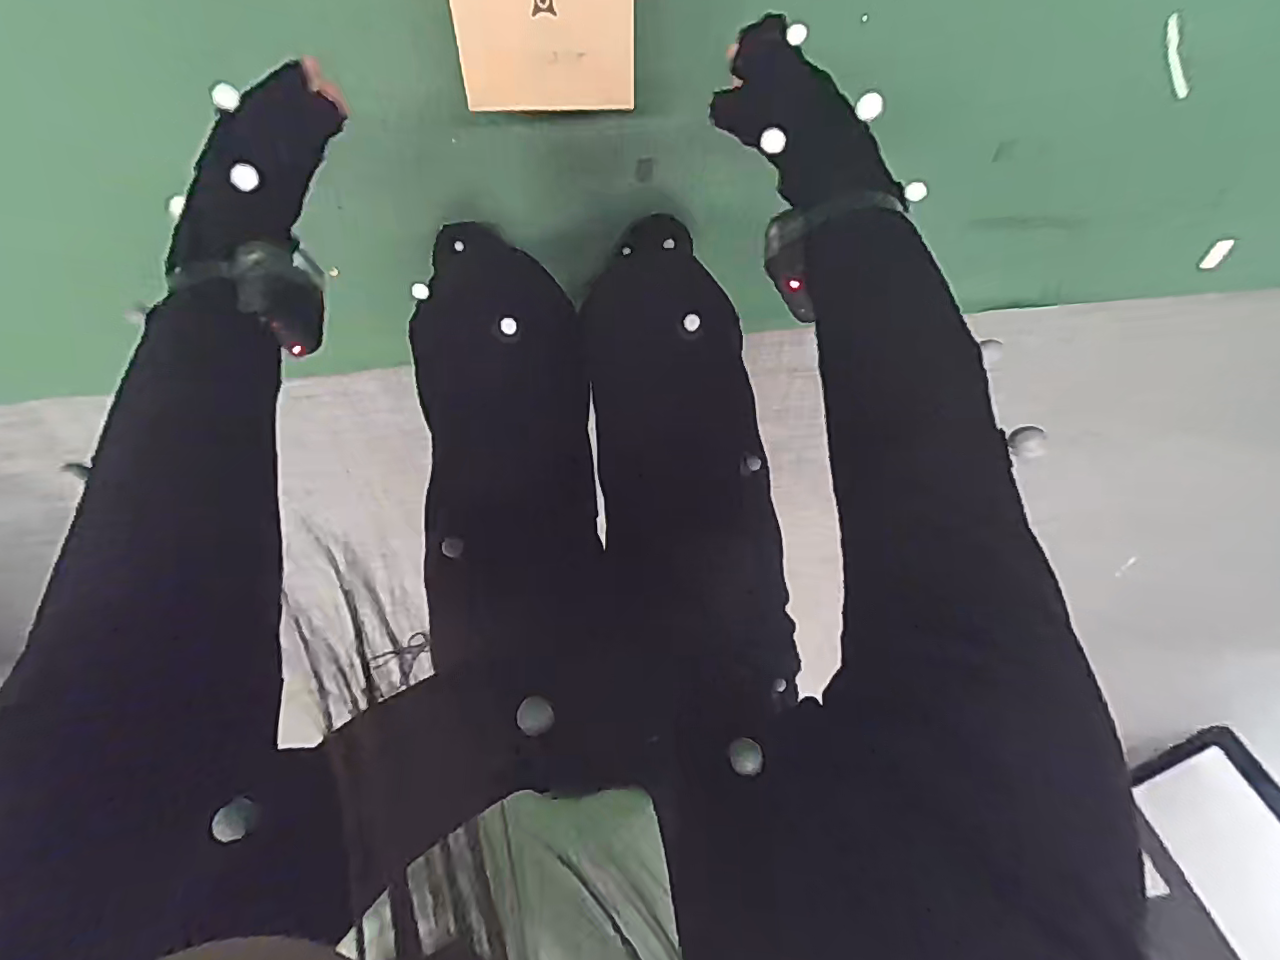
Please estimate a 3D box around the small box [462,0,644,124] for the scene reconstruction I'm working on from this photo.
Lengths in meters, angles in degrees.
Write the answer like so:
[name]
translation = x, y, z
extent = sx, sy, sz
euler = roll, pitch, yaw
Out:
[small box]
translation = -0.085, -0.482, 0.548
extent = 0.168, 0.176, 0.179
euler = -3, 135, -3
